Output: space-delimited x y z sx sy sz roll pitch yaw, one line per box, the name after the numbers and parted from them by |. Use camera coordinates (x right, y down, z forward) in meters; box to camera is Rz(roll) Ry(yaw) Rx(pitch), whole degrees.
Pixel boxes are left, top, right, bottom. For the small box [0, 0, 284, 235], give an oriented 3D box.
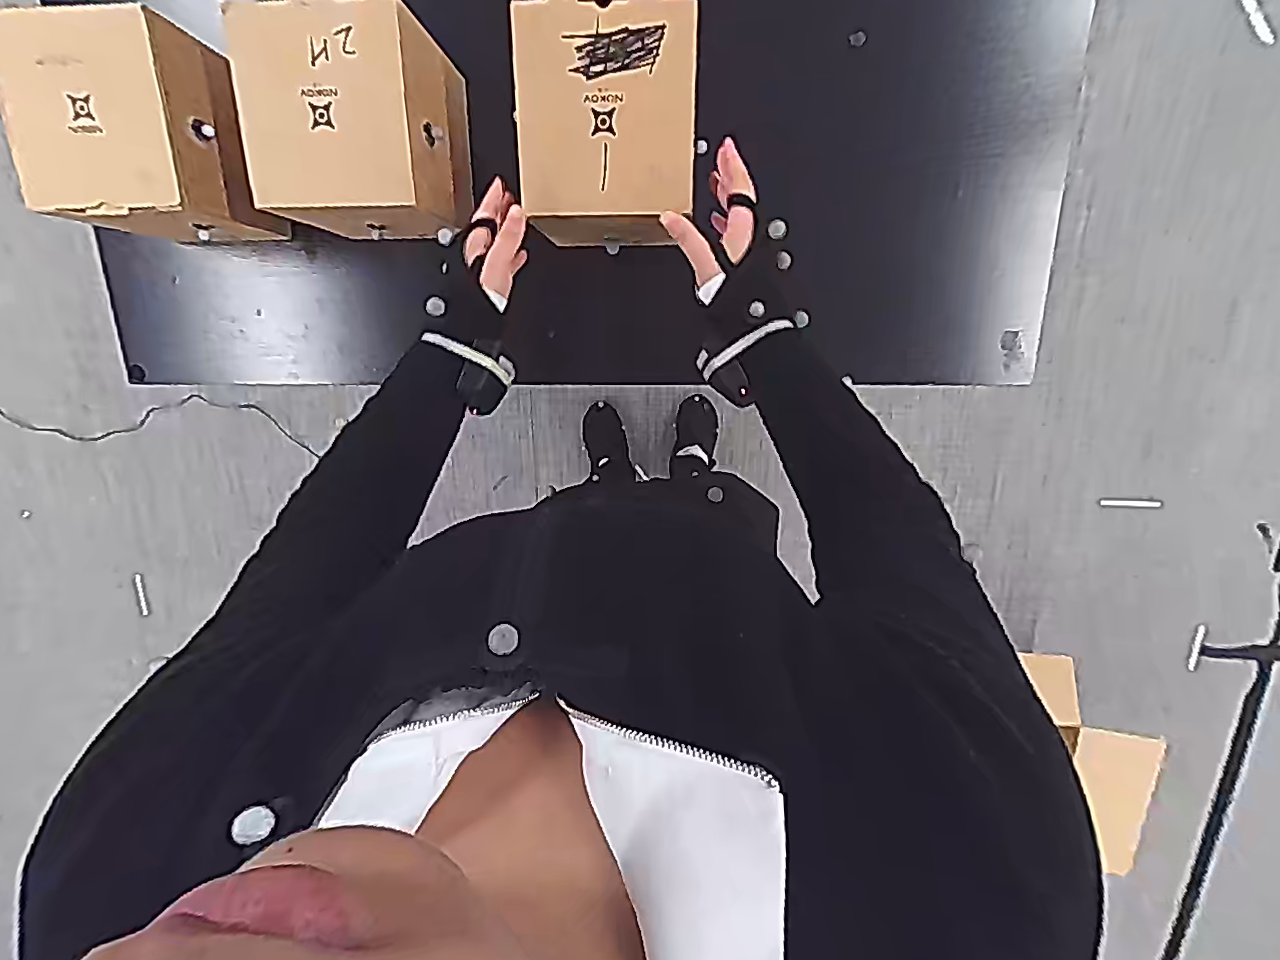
-0.532 -0.376 0.597 0.168 0.176 0.179 -1 103 2 | small box

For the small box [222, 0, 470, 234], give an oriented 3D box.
-0.293 -0.370 0.582 0.168 0.176 0.179 1 104 2 | small box

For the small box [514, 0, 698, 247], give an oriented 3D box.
-0.029 -0.356 0.571 0.168 0.176 0.179 1 105 3 | small box
